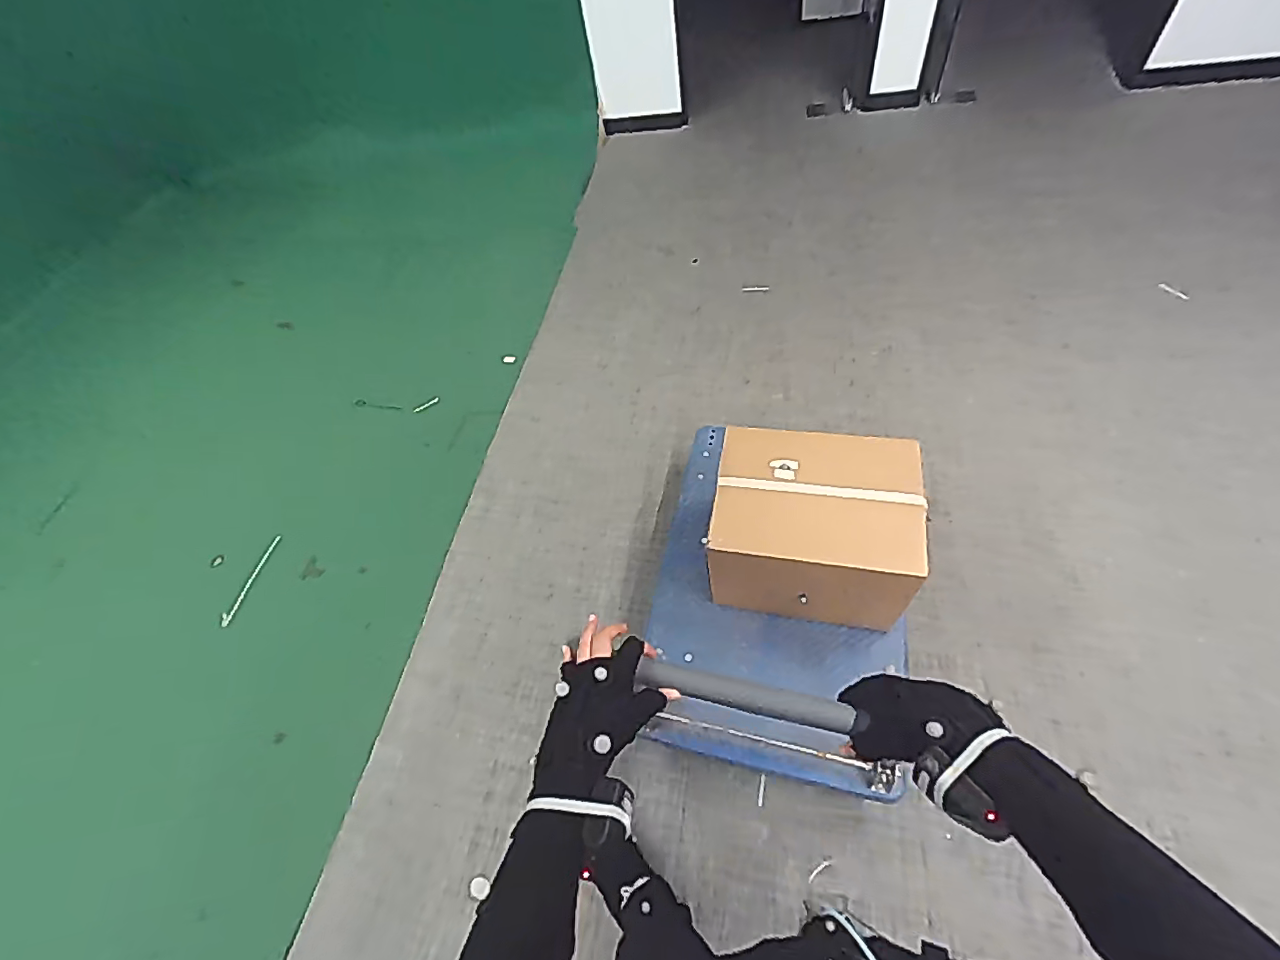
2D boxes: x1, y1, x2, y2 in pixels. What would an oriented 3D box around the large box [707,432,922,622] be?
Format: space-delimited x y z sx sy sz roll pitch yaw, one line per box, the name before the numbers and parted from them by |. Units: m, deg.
large box | 0.382 0.110 1.235 0.408 0.320 0.320 5 58 15
